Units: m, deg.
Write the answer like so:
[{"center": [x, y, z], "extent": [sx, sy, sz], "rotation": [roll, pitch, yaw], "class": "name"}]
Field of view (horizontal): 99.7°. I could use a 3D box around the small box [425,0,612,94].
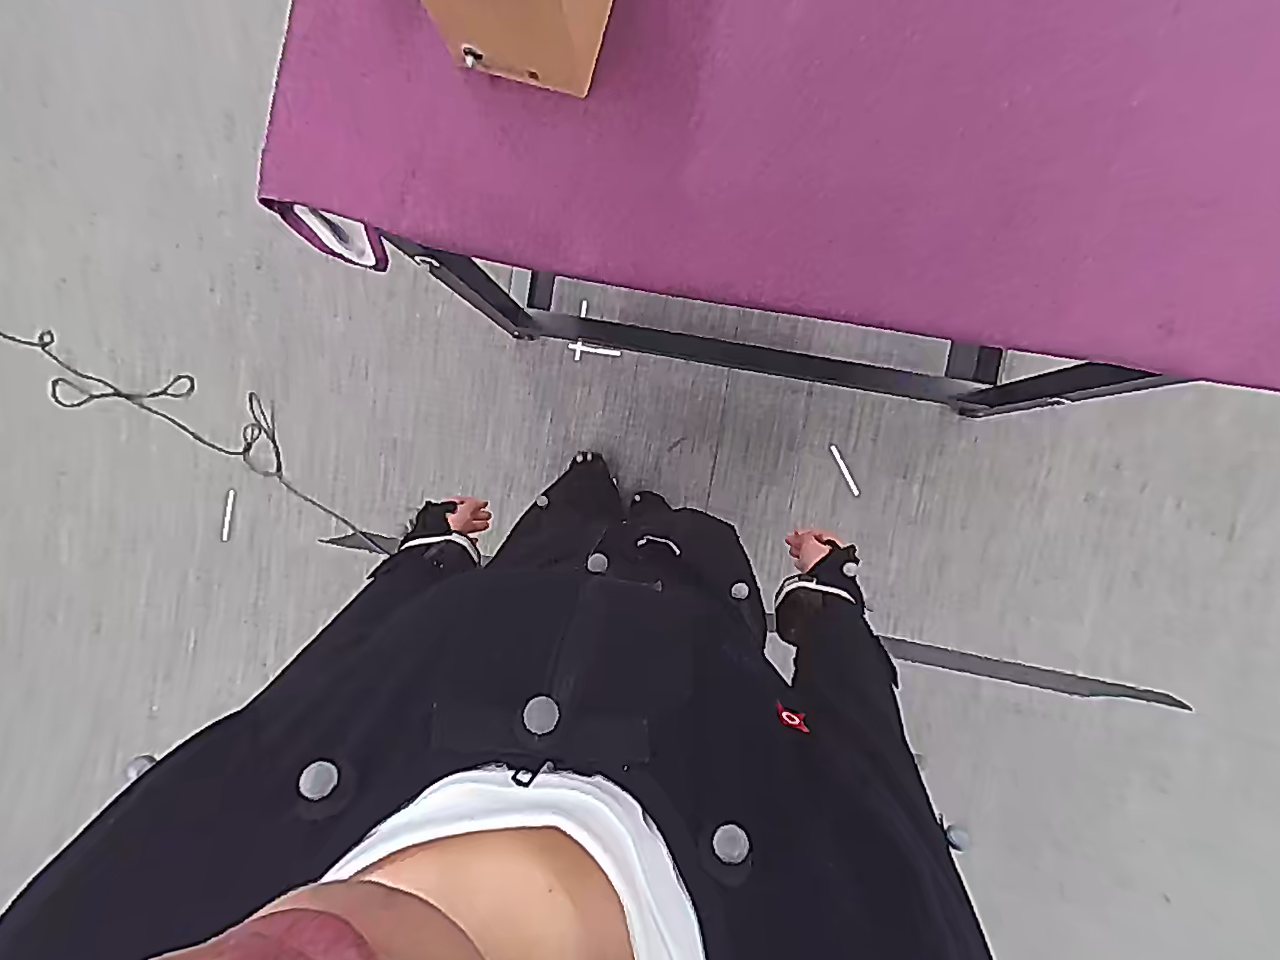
[{"center": [-0.125, -0.554, 0.565], "extent": [0.168, 0.176, 0.179], "rotation": [16, 92, 3], "class": "small box"}]
